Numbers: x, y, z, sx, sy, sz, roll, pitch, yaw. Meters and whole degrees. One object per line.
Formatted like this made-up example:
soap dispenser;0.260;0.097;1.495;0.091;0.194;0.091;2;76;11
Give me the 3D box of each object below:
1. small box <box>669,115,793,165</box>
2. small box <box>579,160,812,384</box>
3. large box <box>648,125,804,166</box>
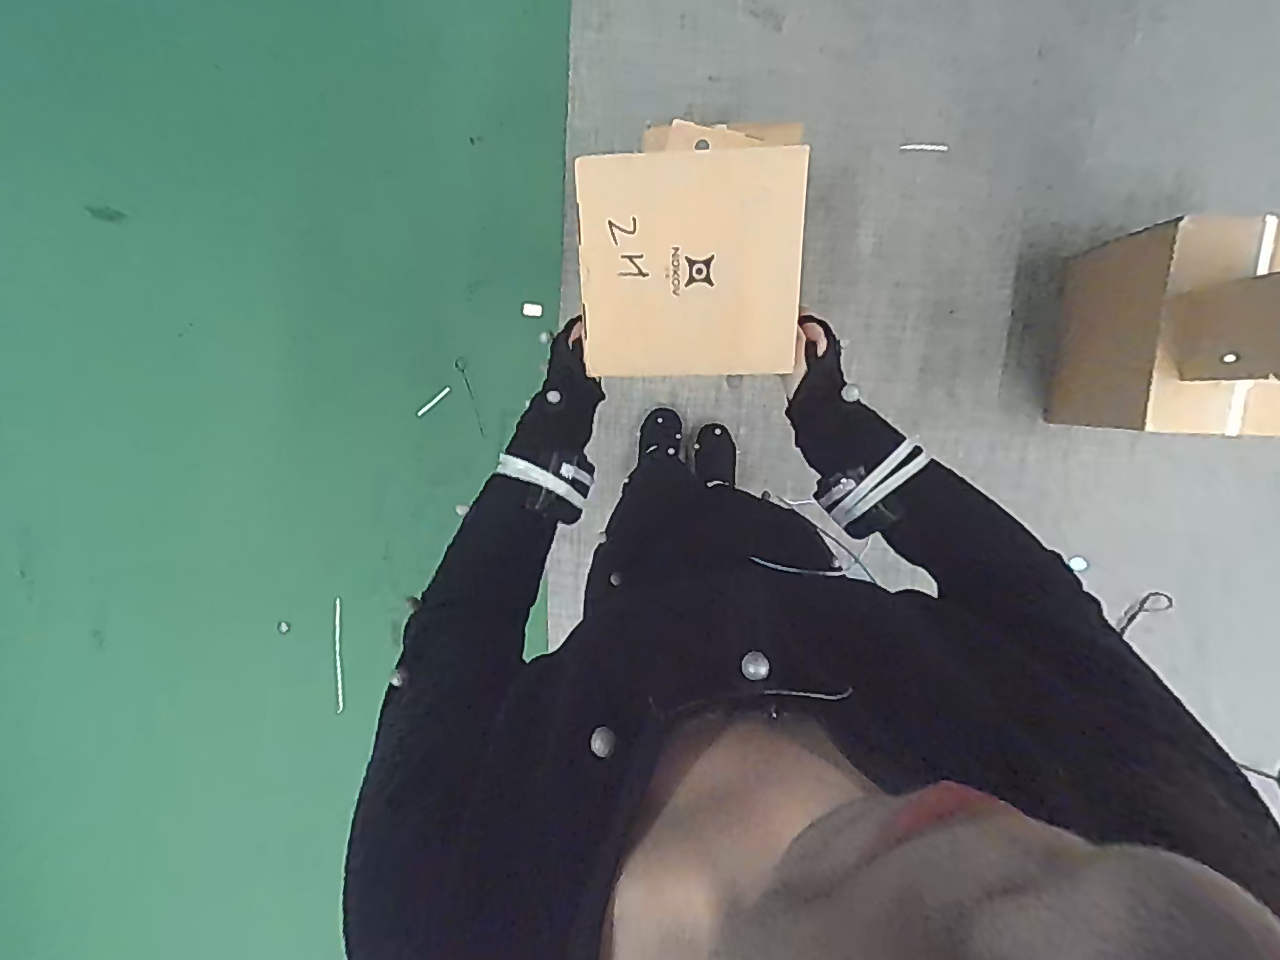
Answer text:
small box;0.123;-0.426;0.854;0.168;0.176;0.179;18;101;5
small box;0.048;-0.185;0.502;0.179;0.176;0.168;0;109;5
large box;0.182;-0.524;1.247;0.320;0.320;0.408;3;98;6
